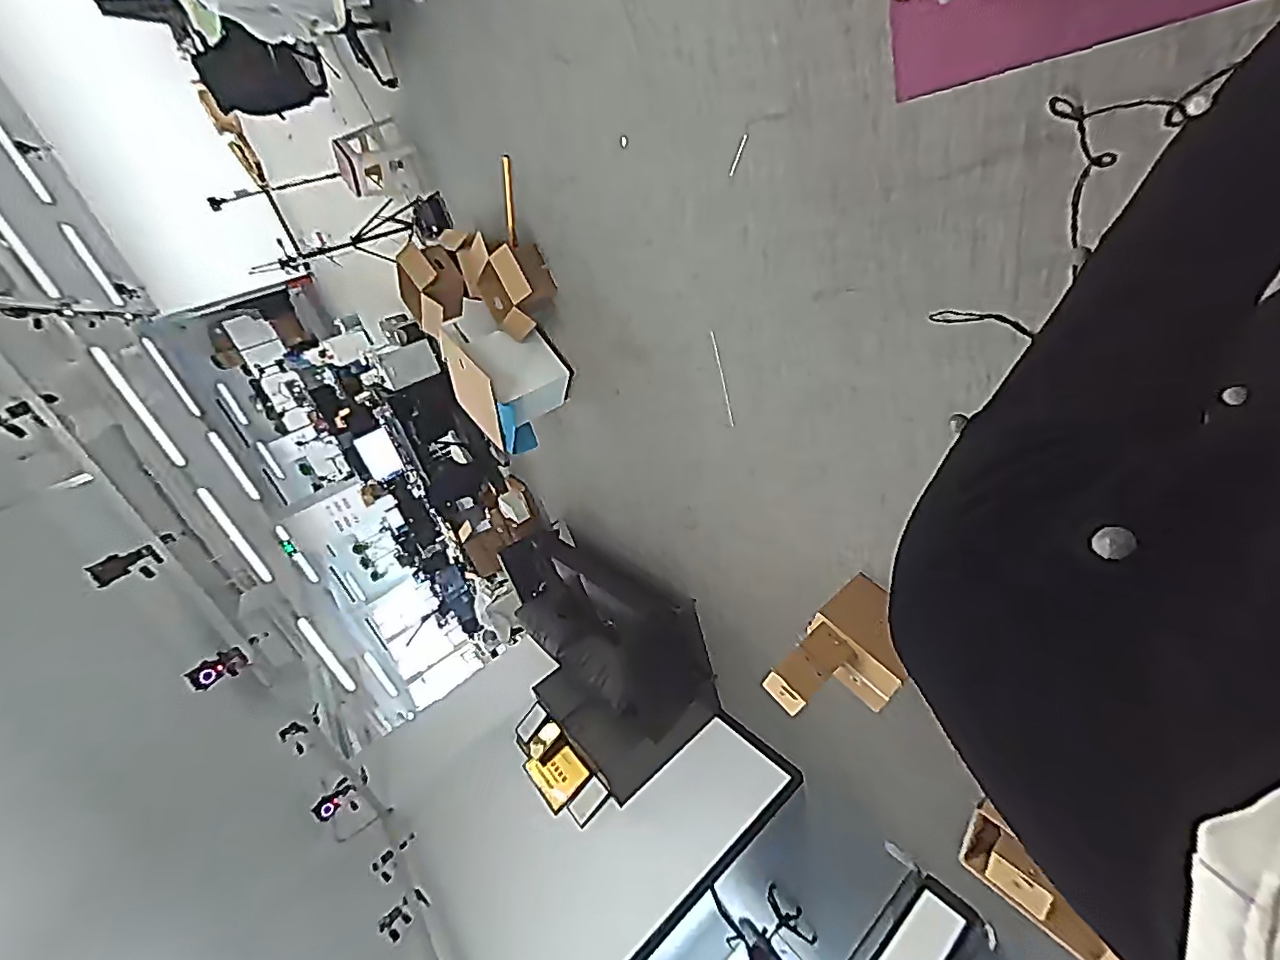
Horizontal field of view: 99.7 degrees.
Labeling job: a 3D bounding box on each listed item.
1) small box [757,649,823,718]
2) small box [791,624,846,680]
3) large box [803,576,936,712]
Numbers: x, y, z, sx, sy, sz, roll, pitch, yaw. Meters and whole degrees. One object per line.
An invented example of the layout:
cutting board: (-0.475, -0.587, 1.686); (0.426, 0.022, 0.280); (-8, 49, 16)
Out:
small box: (0.603, 0.810, 2.161); (0.168, 0.176, 0.179); (44, 149, 25)
small box: (0.724, 0.737, 2.243); (0.168, 0.176, 0.179); (44, 148, 25)
large box: (0.966, 0.699, 2.337); (0.408, 0.320, 0.320); (40, 148, 31)
